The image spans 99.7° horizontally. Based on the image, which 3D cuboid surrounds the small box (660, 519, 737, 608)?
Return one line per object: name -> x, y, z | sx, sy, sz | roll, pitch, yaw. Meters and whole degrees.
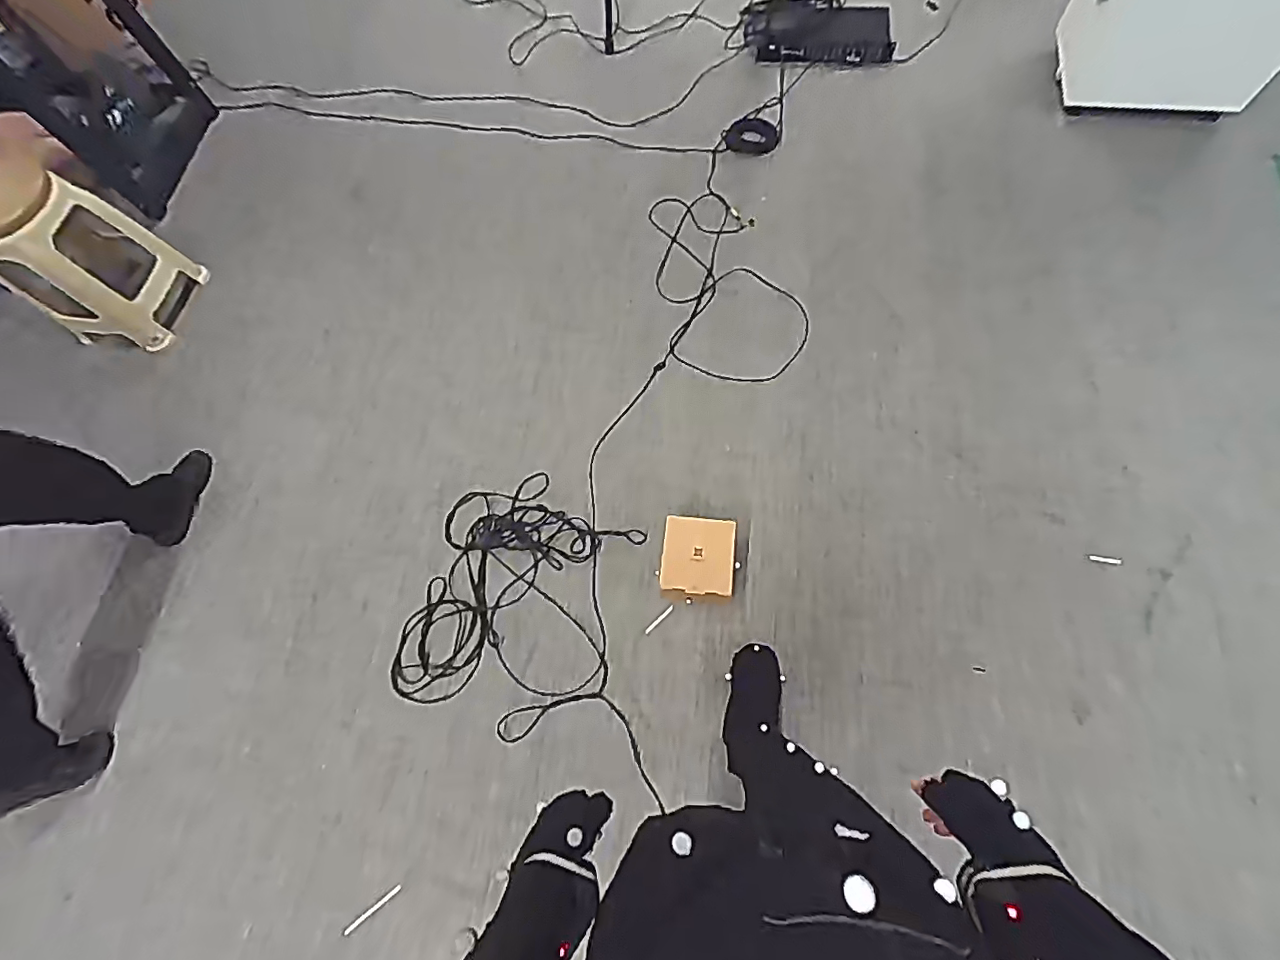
small box -> 0.141, 0.207, 1.320 | 0.168, 0.176, 0.179 | 5, 70, 8
